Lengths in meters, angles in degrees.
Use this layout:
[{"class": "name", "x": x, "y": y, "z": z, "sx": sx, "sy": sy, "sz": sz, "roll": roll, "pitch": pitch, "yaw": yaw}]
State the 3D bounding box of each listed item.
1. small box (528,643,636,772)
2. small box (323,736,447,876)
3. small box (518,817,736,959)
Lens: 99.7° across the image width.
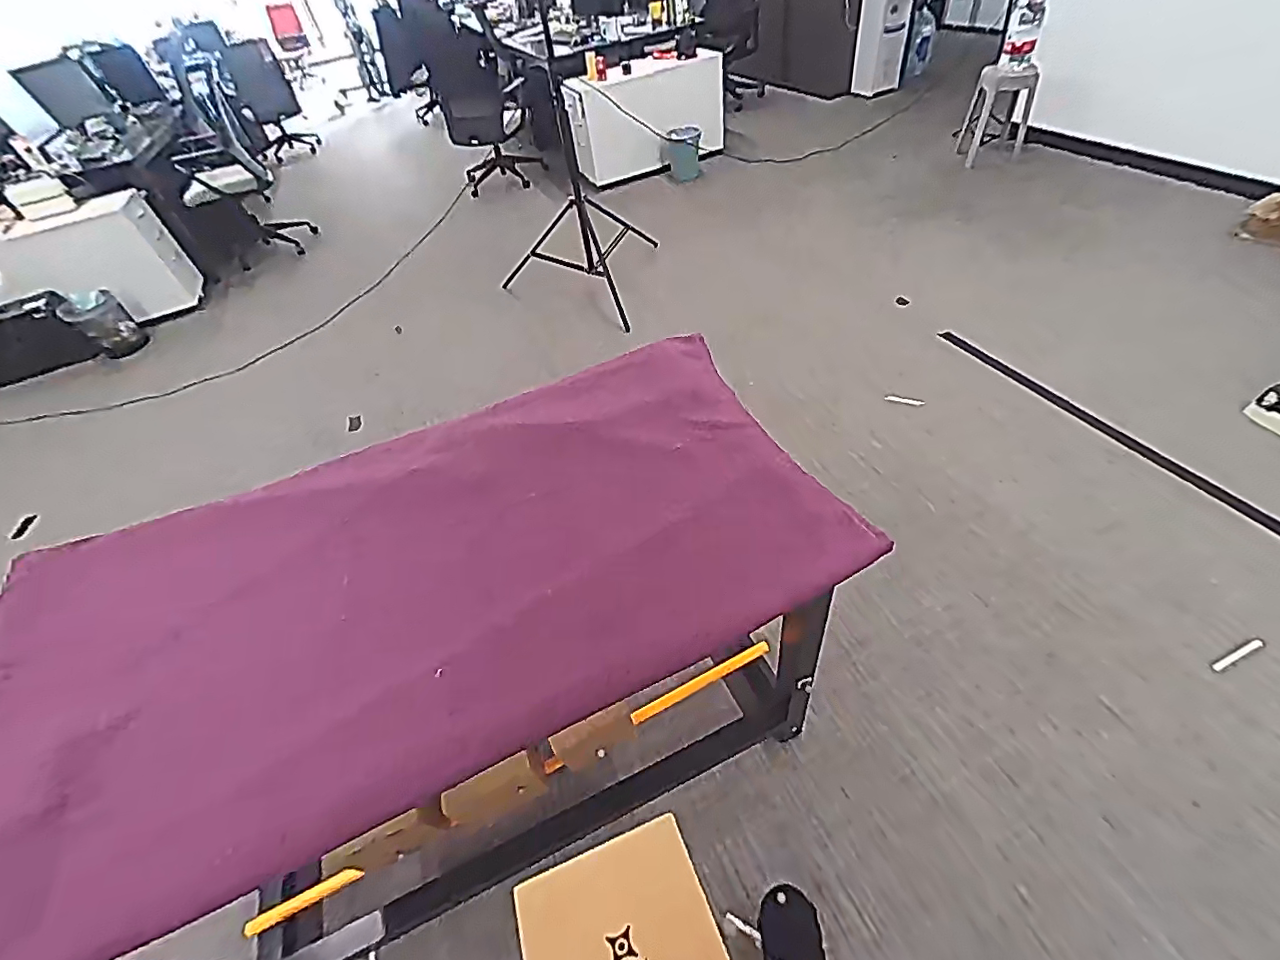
[{"class": "small box", "x": -0.123, "y": 0.494, "z": 1.170, "sx": 0.168, "sy": 0.176, "sz": 0.179, "roll": -25, "pitch": 51, "yaw": -11}, {"class": "small box", "x": -0.508, "y": 0.655, "z": 1.085, "sx": 0.168, "sy": 0.176, "sz": 0.179, "roll": -23, "pitch": 50, "yaw": -11}, {"class": "small box", "x": 0.002, "y": 0.461, "z": 0.488, "sx": 0.168, "sy": 0.176, "sz": 0.179, "roll": -19, "pitch": 34, "yaw": -12}]
